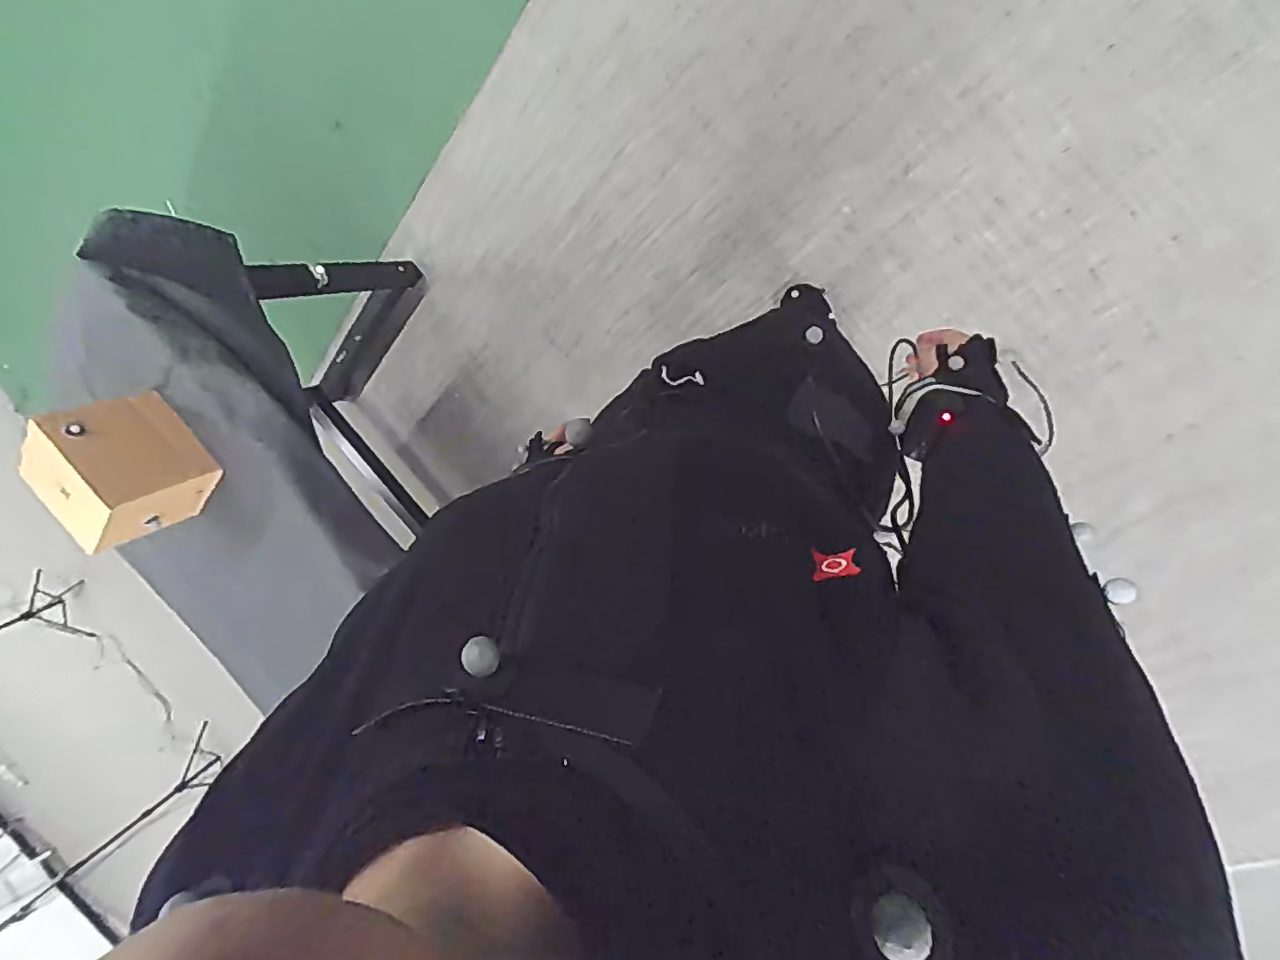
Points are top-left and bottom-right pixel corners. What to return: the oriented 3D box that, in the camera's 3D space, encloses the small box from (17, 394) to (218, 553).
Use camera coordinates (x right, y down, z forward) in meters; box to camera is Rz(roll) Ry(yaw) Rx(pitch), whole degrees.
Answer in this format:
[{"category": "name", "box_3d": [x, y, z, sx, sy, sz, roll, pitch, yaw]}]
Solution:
[{"category": "small box", "box_3d": [-0.853, -0.017, 0.893, 0.168, 0.176, 0.179, -35, 95, 31]}]
